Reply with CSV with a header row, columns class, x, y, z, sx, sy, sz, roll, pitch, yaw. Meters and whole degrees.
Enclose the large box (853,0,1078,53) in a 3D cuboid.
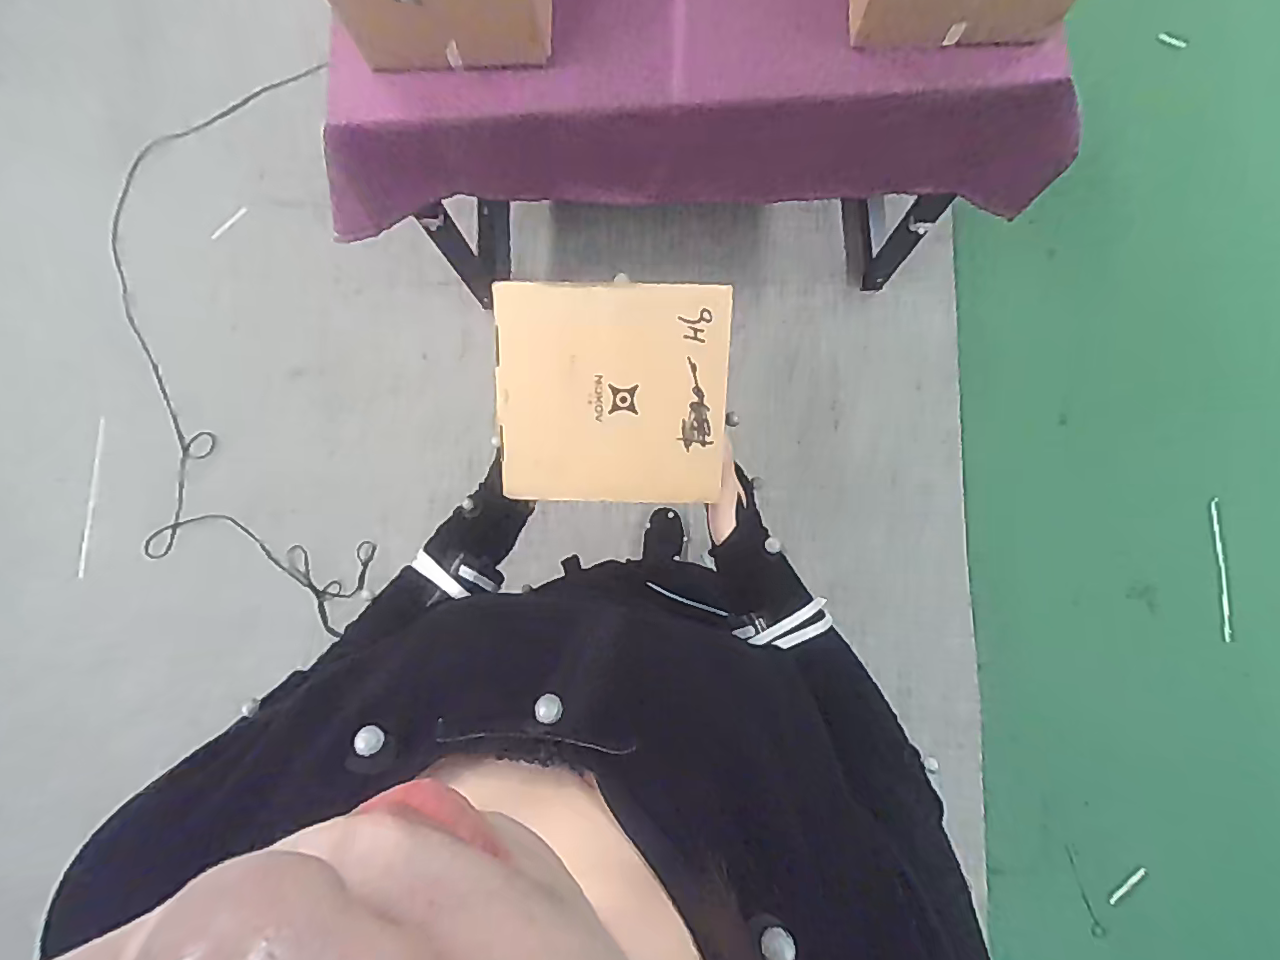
class,x,y,z,sx,sy,sz,roll,pitch,yaw
large box,0.500,-0.912,0.756,0.320,0.320,0.408,1,83,2
